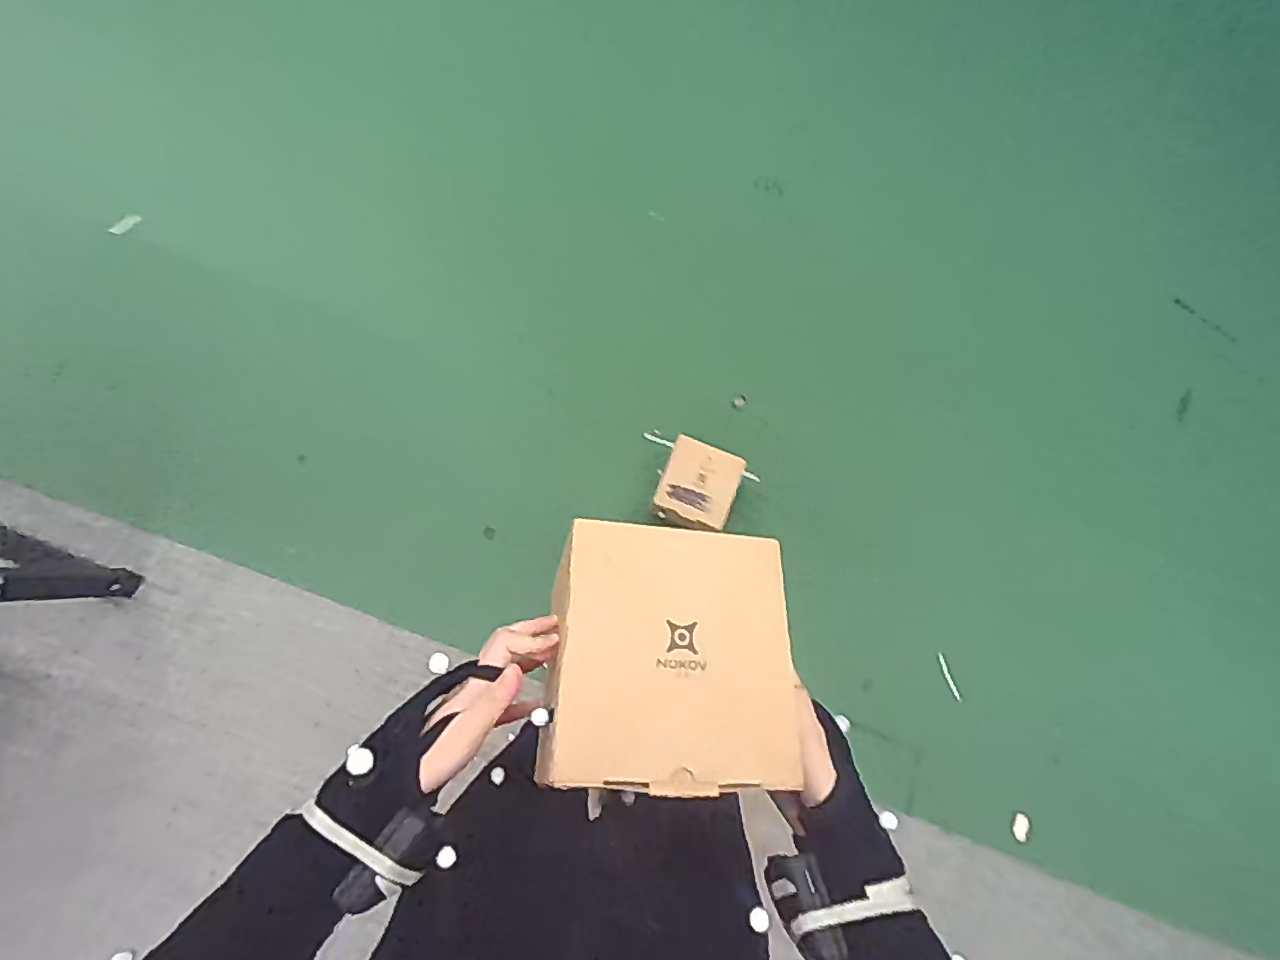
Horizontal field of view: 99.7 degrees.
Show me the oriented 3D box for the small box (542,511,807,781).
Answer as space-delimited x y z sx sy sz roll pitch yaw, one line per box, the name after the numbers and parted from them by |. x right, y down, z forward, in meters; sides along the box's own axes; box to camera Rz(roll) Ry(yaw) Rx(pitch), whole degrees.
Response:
0.013 0.145 0.444 0.168 0.176 0.179 7 61 -11 | small box
